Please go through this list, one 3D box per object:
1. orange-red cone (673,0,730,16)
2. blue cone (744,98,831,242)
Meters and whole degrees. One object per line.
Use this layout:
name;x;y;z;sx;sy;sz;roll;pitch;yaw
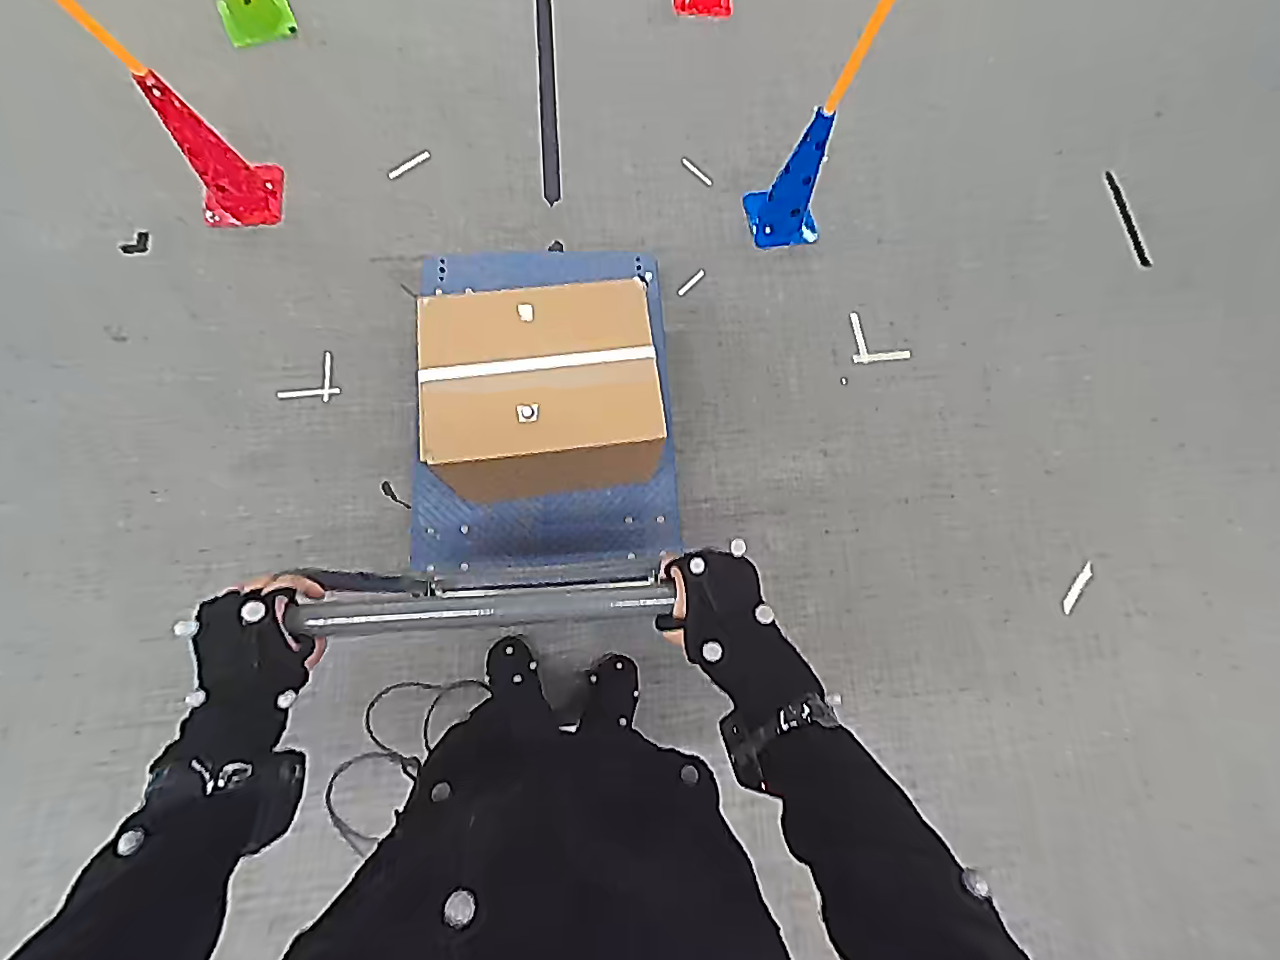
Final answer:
orange-red cone;0.226;-1.713;1.683;0.199;0.360;0.198;3;75;-5
blue cone;0.436;-0.849;1.482;0.193;0.380;0.192;-8;75;-7
